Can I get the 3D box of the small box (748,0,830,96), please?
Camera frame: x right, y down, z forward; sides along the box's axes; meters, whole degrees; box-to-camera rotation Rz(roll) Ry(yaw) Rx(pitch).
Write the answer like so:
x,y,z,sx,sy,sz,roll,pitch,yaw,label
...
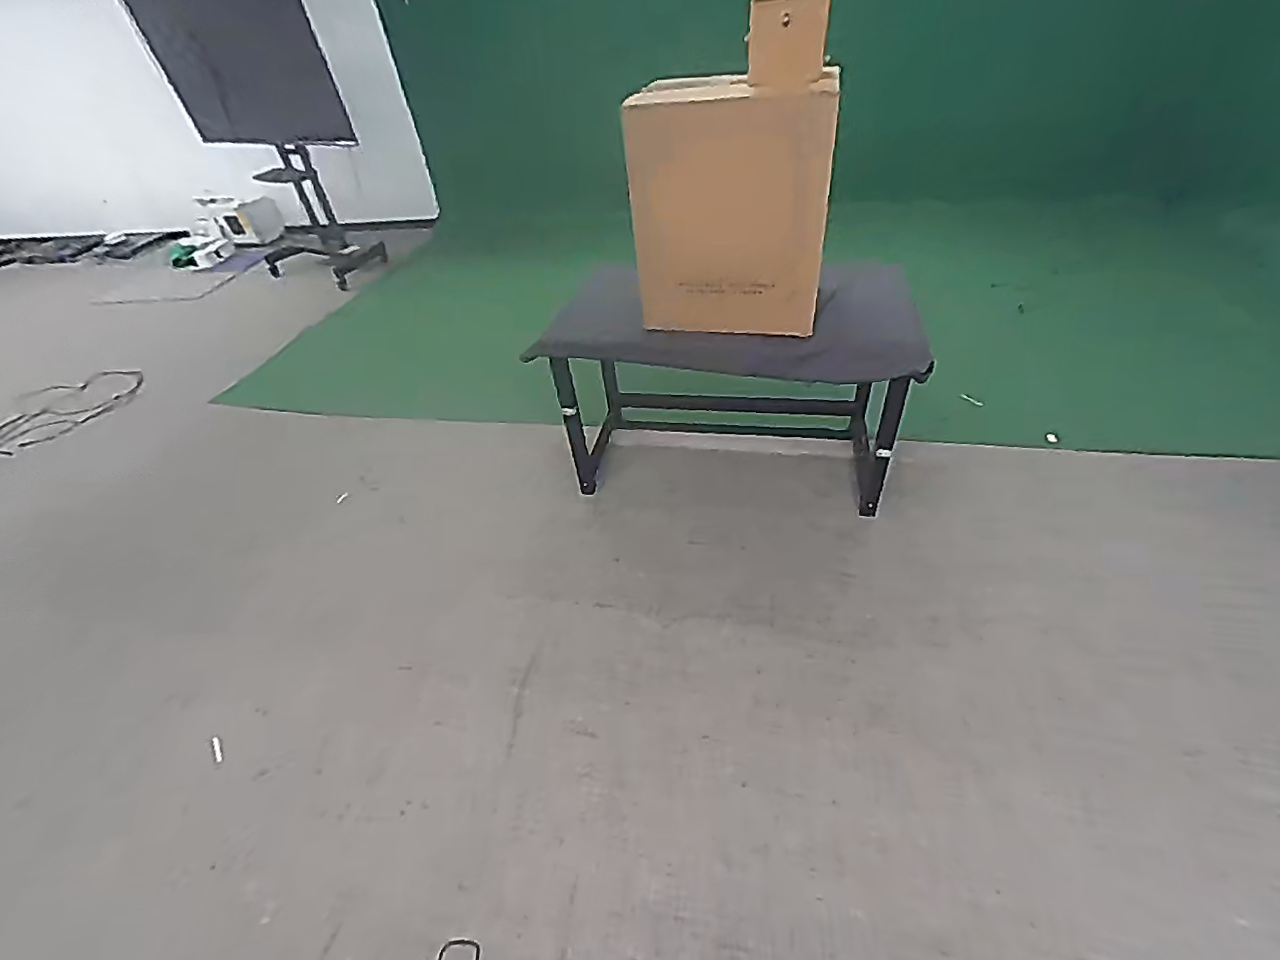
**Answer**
x,y,z,sx,sy,sz,roll,pitch,yaw,label
0.369,-1.074,1.347,0.179,0.176,0.168,8,47,13,small box
